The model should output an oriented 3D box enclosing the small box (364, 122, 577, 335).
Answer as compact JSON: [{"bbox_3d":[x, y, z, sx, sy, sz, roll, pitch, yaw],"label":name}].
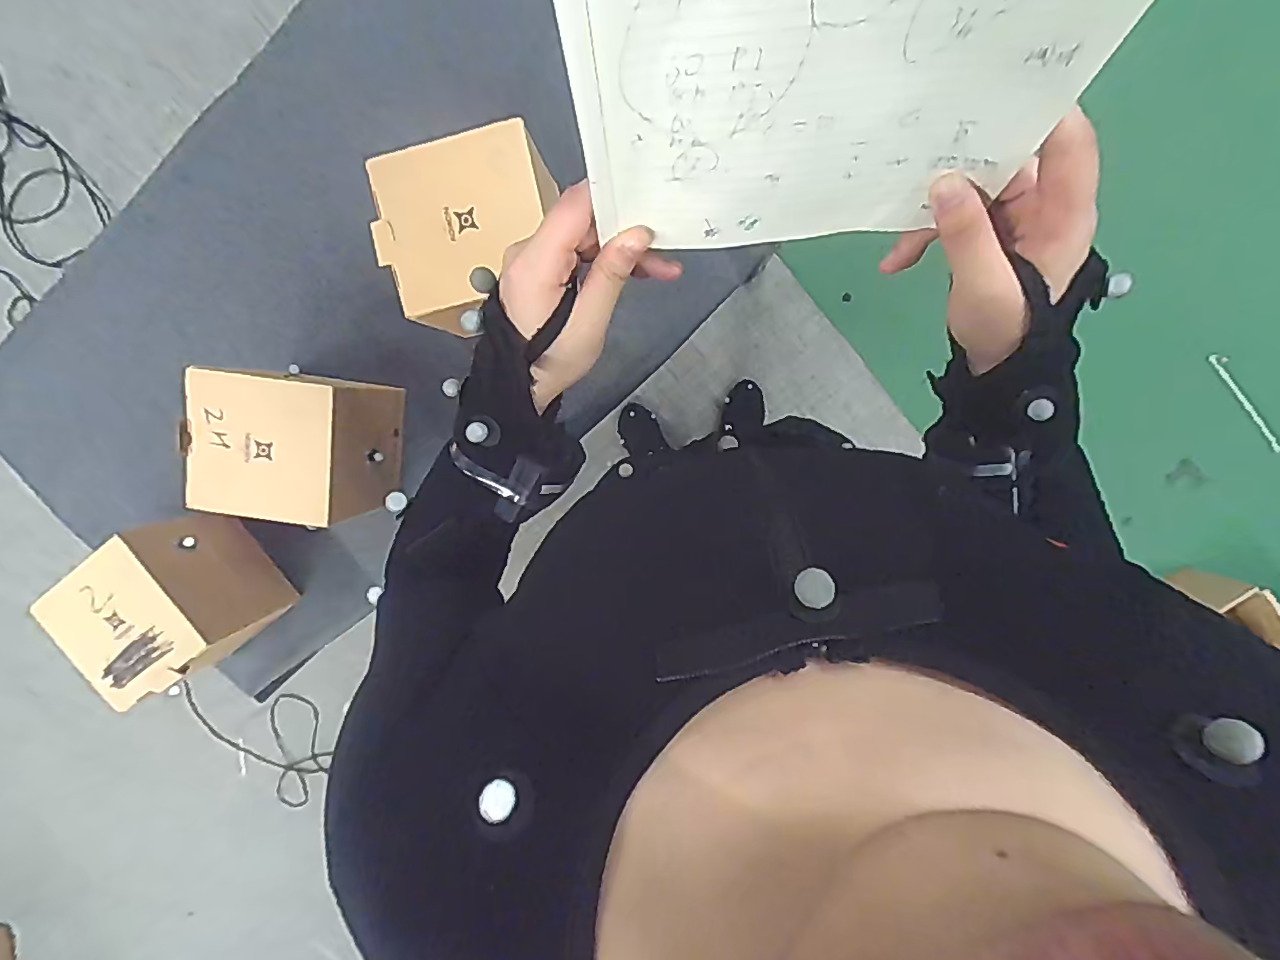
[{"bbox_3d":[-0.180,-0.277,0.639,0.179,0.176,0.168,-12,97,6],"label":"small box"}]

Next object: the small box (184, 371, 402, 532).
[{"bbox_3d":[-0.428,-0.043,0.690,0.179,0.176,0.168,8,98,3],"label":"small box"}]
